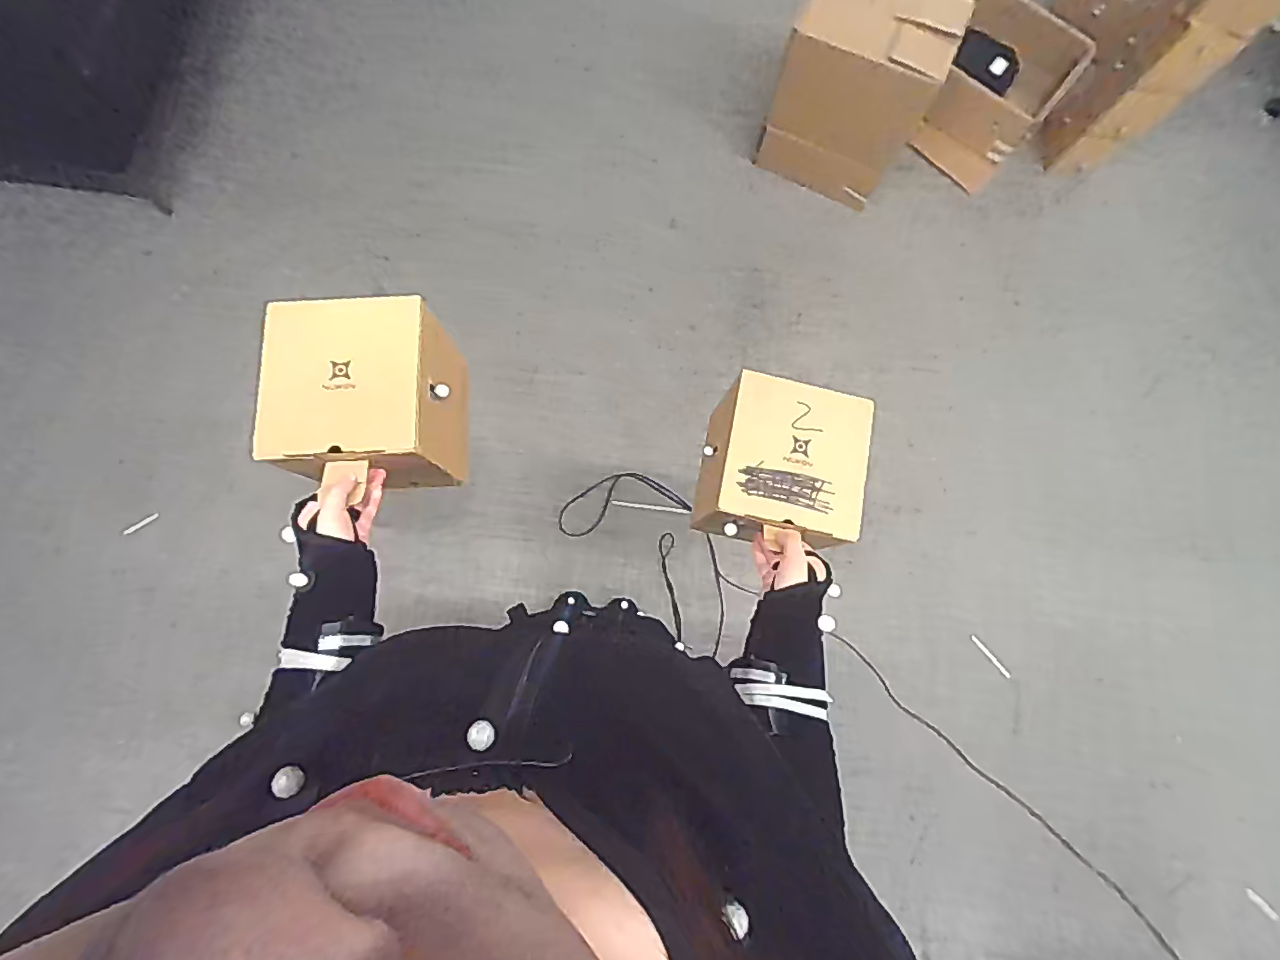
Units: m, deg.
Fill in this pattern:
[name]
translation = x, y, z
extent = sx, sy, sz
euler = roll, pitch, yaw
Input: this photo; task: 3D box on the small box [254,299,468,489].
[small box]
translation = -0.309, -0.092, 0.638
extent = 0.168, 0.176, 0.179
euler = -2, 79, -2
